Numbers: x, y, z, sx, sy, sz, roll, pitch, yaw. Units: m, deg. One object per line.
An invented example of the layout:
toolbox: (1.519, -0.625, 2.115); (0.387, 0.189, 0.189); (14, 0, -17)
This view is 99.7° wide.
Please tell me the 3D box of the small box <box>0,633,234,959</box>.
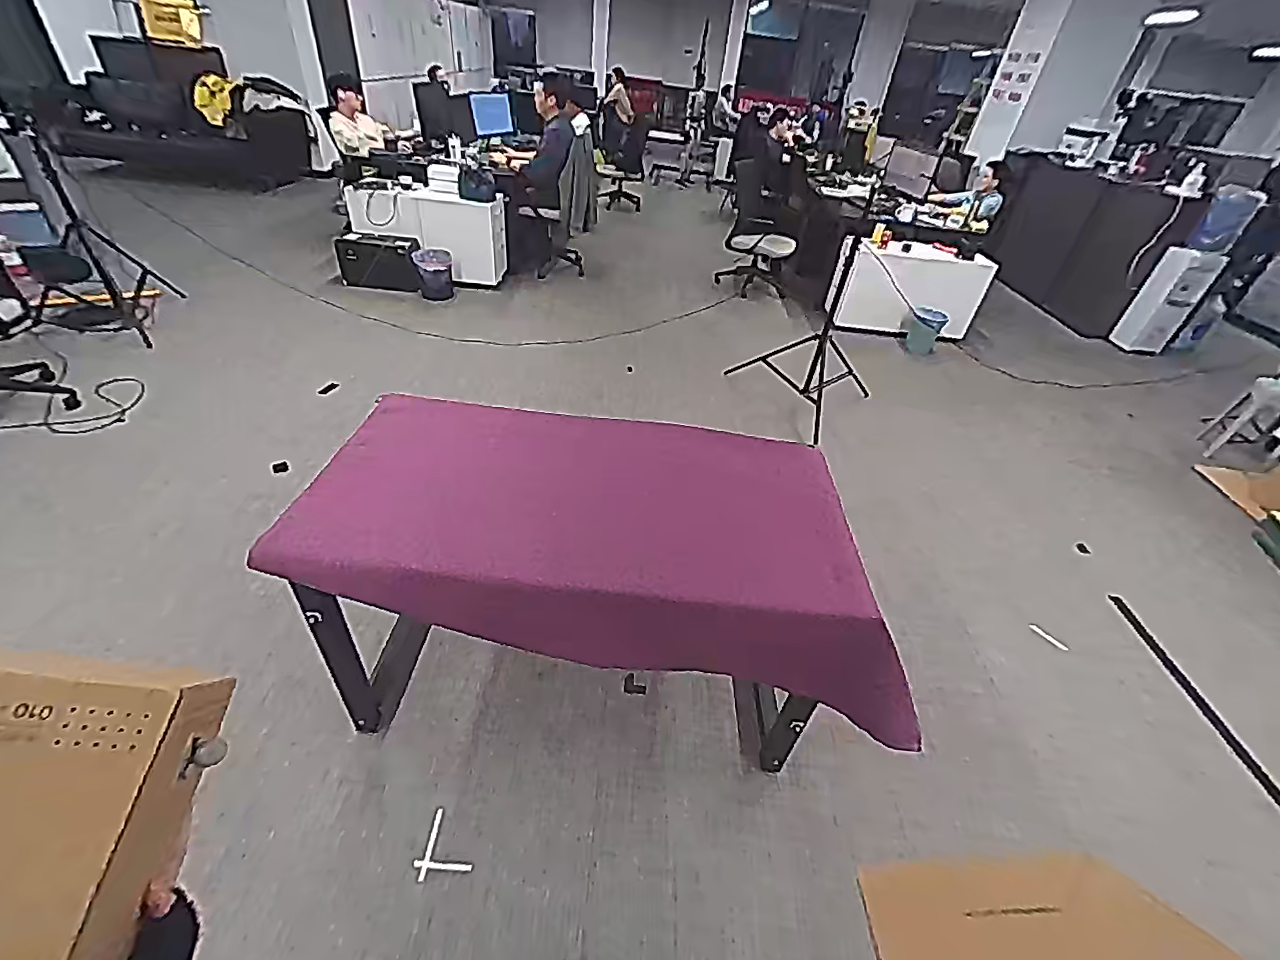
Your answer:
small box: (-0.329, 0.160, 0.255); (0.168, 0.179, 0.176); (19, 65, -22)
